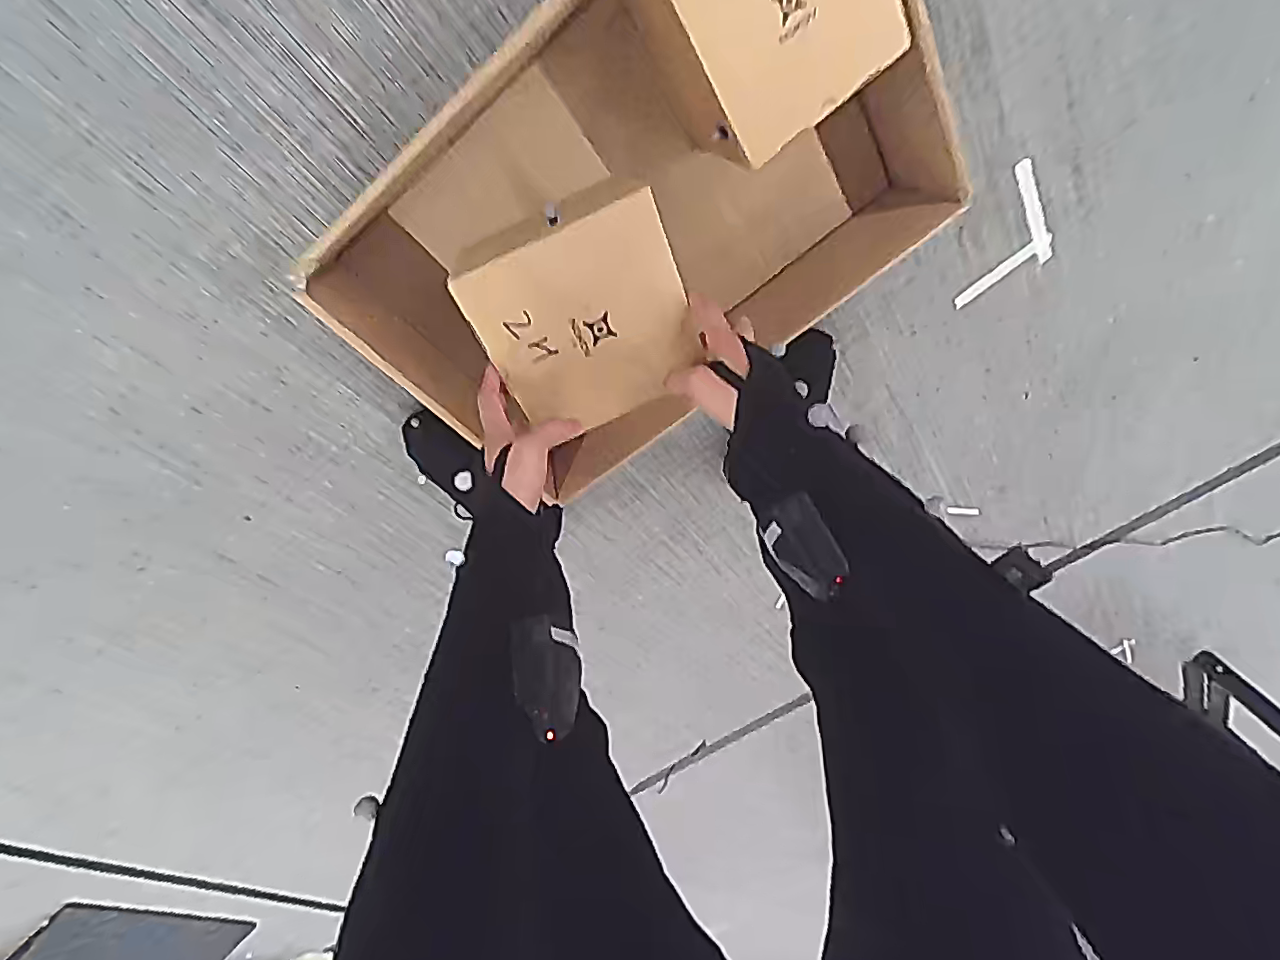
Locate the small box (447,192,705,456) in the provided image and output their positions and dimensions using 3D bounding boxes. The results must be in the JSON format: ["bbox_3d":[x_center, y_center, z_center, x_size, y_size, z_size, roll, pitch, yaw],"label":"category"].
[{"bbox_3d":[-0.062,-0.159,0.523,0.179,0.176,0.168,-24,123,2],"label":"small box"}]

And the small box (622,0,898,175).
[{"bbox_3d":[0.102,-0.430,0.511,0.168,0.176,0.179,-35,127,14],"label":"small box"}]
